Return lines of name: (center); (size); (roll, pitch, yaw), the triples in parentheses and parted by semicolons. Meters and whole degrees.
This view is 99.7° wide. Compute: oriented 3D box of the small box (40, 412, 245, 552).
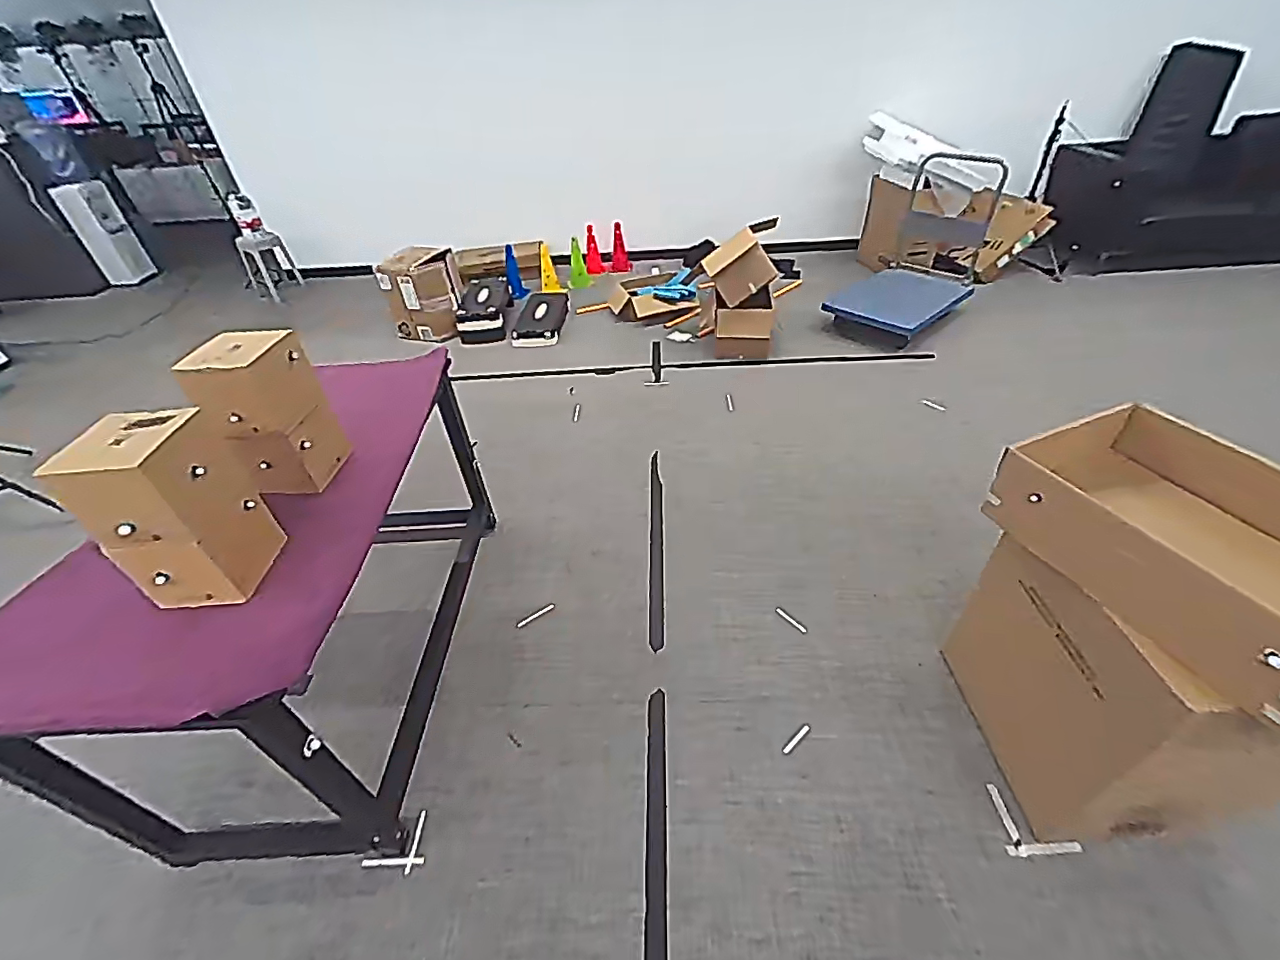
small box: (-0.836, 0.003, 0.939); (0.168, 0.176, 0.179); (-5, 40, 0)

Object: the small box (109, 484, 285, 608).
small box: (-0.831, 0.131, 1.041); (0.168, 0.176, 0.179); (-5, 39, -1)

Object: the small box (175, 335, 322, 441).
small box: (-0.835, -0.201, 1.181); (0.168, 0.176, 0.179); (-2, 40, 5)
